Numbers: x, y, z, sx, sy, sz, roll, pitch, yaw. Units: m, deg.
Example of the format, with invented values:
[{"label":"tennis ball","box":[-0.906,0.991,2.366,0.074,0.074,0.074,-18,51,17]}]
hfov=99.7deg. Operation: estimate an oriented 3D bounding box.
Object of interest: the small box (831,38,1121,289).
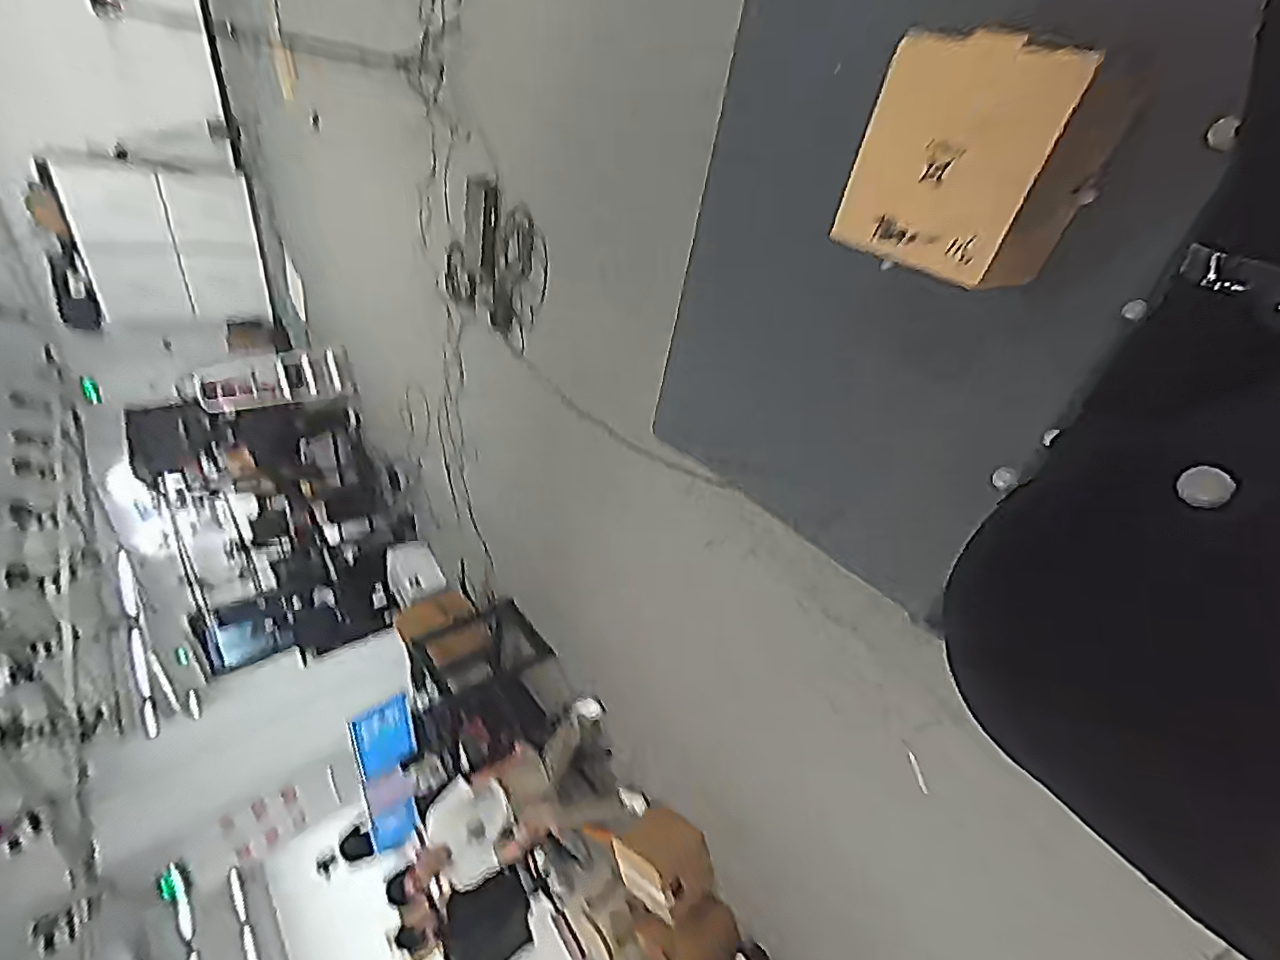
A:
[{"label":"small box","box":[0.335,-0.309,0.546,0.168,0.176,0.179,41,133,34]}]
